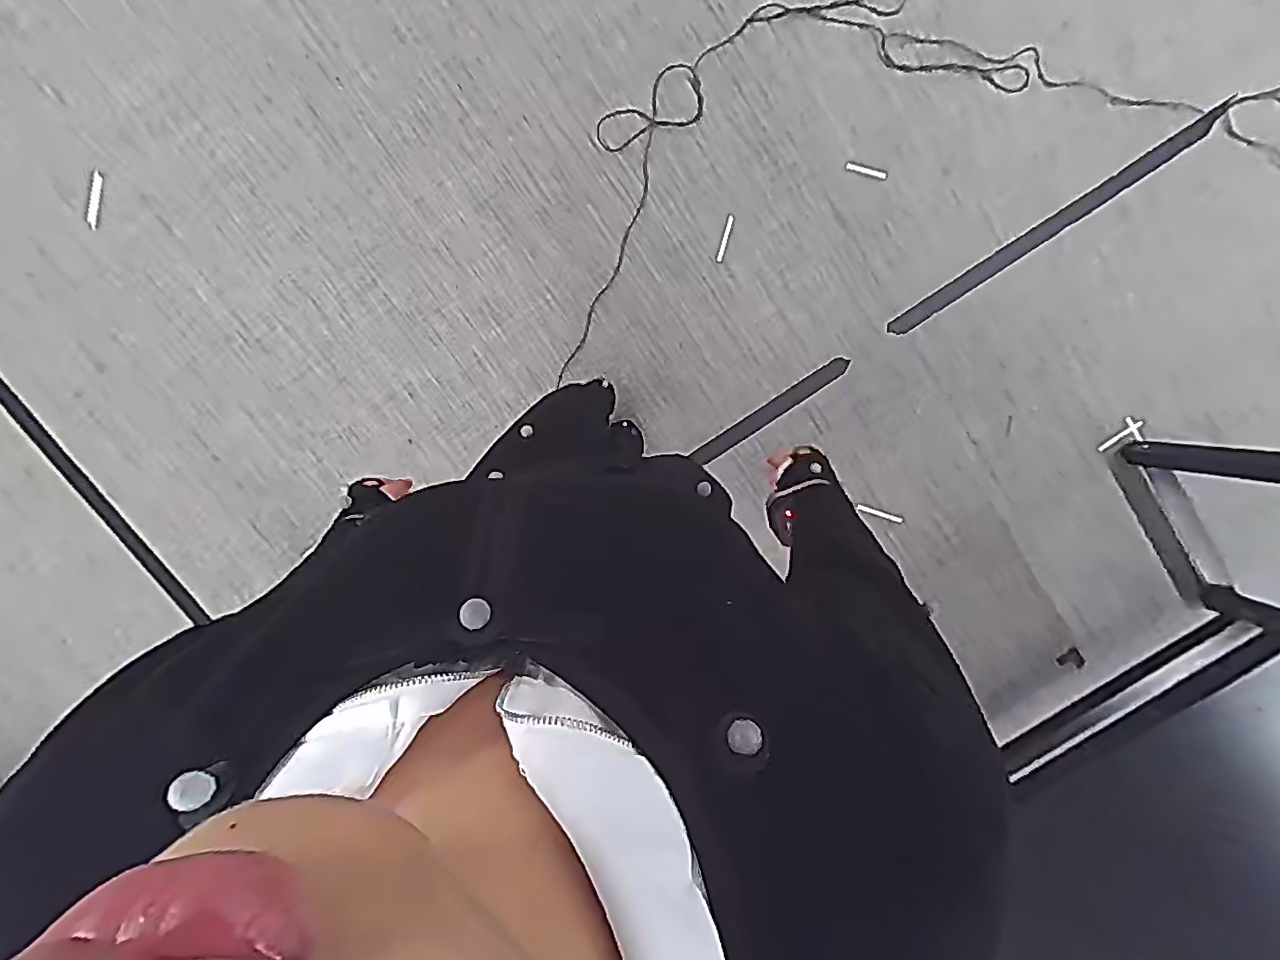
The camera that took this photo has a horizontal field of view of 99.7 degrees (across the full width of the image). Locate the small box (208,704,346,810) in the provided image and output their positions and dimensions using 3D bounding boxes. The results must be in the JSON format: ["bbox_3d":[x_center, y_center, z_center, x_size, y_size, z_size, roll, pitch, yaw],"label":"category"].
[{"bbox_3d":[-0.756,0.612,1.136,0.179,0.176,0.168,-35,97,3],"label":"small box"}]

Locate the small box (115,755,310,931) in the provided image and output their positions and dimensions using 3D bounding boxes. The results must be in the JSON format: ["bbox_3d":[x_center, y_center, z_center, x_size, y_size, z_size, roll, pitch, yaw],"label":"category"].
[{"bbox_3d":[-0.753,0.634,0.974,0.168,0.176,0.179,-35,96,2],"label":"small box"}]

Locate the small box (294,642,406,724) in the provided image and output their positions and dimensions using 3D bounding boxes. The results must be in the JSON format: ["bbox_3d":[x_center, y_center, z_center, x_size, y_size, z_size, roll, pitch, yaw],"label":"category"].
[{"bbox_3d":[-0.771,0.574,1.460,0.168,0.176,0.179,-34,98,2],"label":"small box"}]
